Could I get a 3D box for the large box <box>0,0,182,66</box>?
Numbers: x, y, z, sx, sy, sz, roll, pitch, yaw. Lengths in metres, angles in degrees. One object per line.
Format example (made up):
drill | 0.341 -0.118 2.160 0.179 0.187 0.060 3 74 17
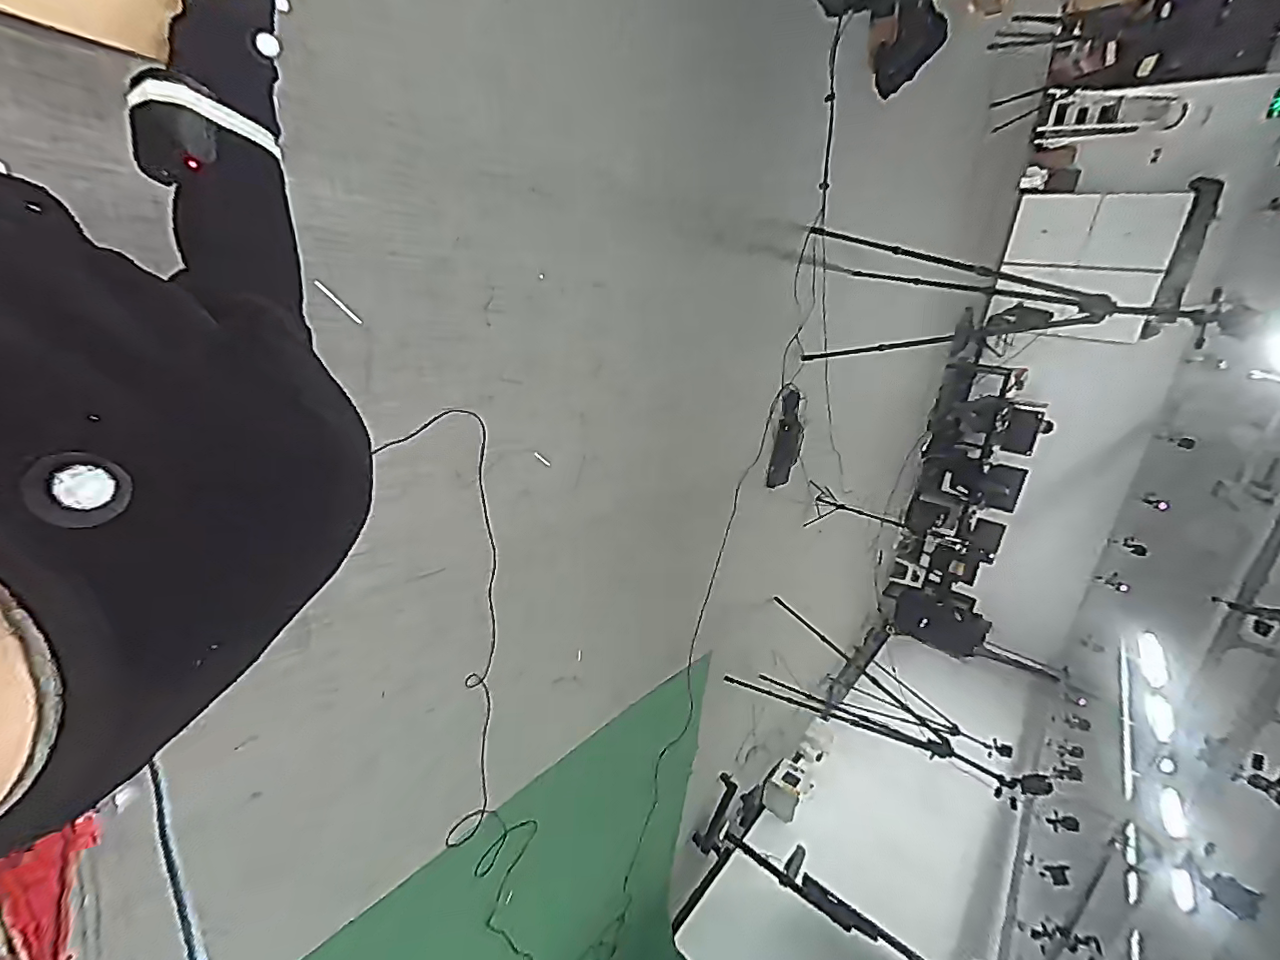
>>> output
large box | -0.565 -0.491 0.289 0.408 0.320 0.320 -21 132 -54
